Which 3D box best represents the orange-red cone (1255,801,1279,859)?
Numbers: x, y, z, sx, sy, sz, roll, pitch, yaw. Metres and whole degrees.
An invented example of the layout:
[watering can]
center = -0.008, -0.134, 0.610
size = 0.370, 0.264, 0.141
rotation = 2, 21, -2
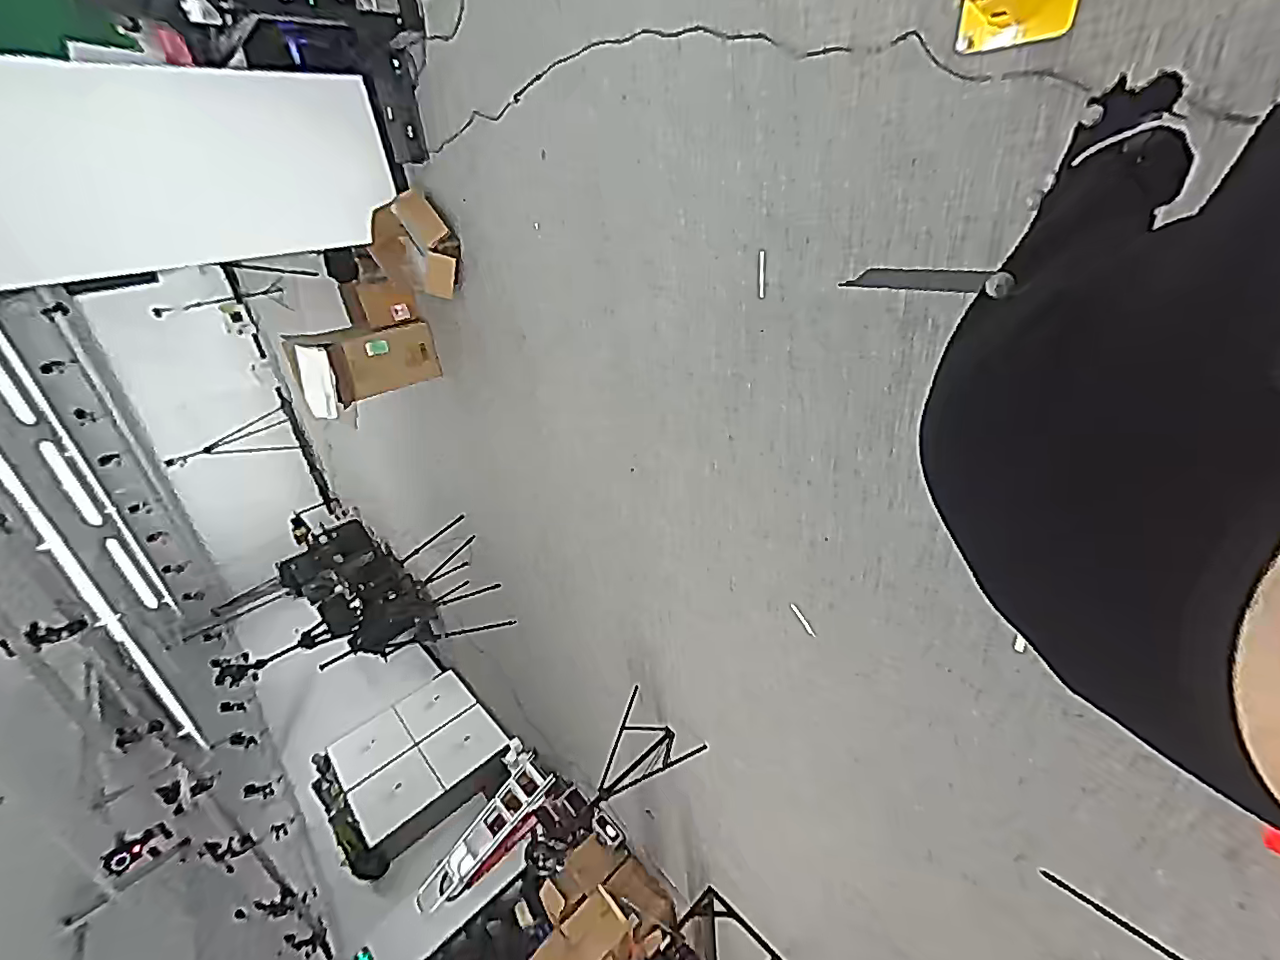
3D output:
[orange-red cone]
center = 1.391, 0.877, 1.082
size = 0.199, 0.360, 0.198
rotation = 17, 126, 44
